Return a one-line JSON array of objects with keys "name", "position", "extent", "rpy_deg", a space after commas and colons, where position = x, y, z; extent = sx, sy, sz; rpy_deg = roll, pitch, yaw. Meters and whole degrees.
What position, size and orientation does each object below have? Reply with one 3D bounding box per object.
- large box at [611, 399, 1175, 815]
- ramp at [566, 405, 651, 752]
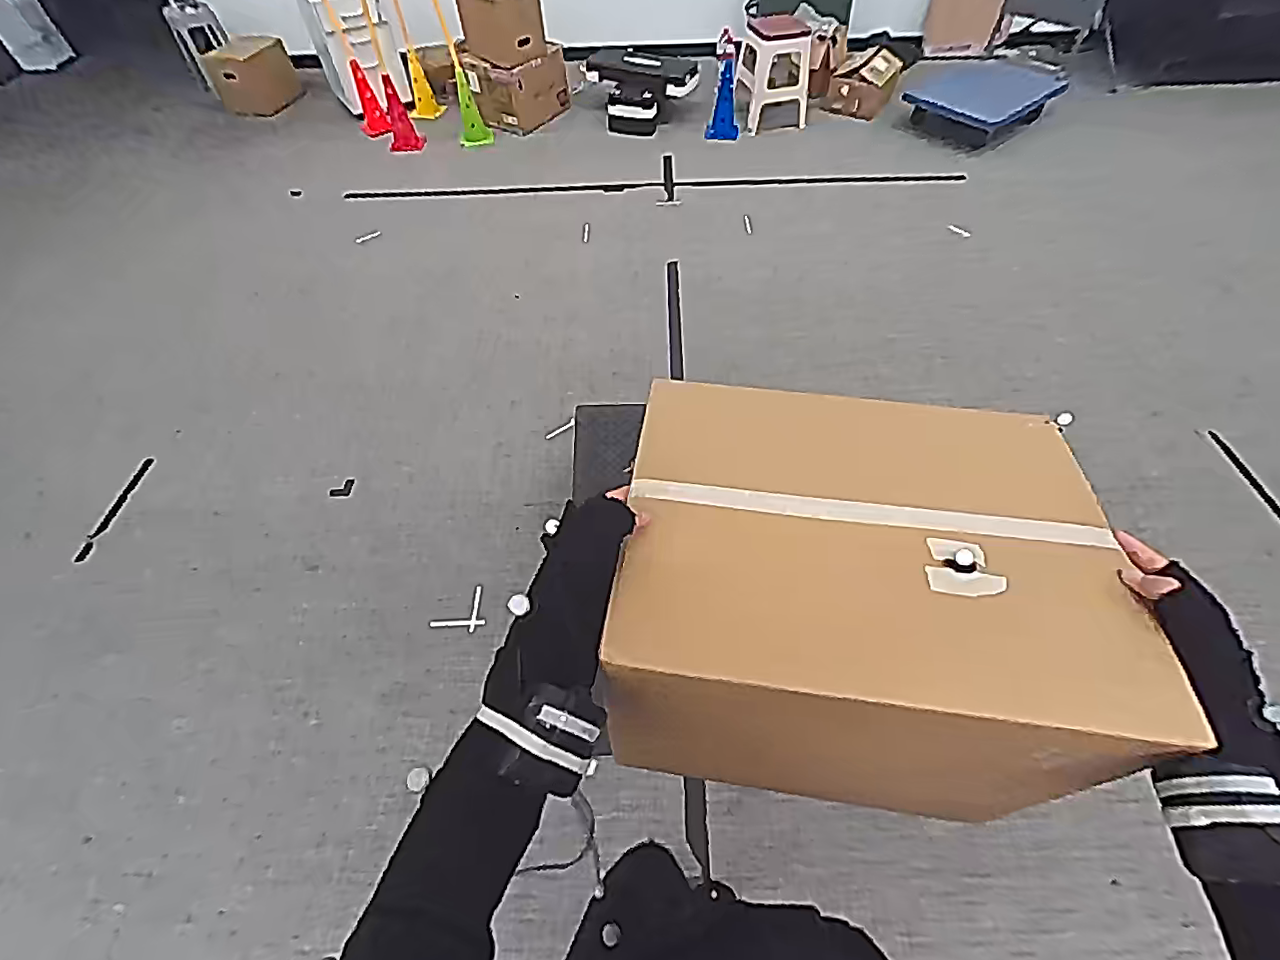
[{"name": "large box", "position": [0.189, 0.139, 0.593], "extent": [0.408, 0.320, 0.320], "rpy_deg": [6, 50, 5]}, {"name": "ramp", "position": [0.049, 0.212, 1.542], "extent": [0.509, 0.206, 0.991], "rpy_deg": [-3, 55, -1]}]
